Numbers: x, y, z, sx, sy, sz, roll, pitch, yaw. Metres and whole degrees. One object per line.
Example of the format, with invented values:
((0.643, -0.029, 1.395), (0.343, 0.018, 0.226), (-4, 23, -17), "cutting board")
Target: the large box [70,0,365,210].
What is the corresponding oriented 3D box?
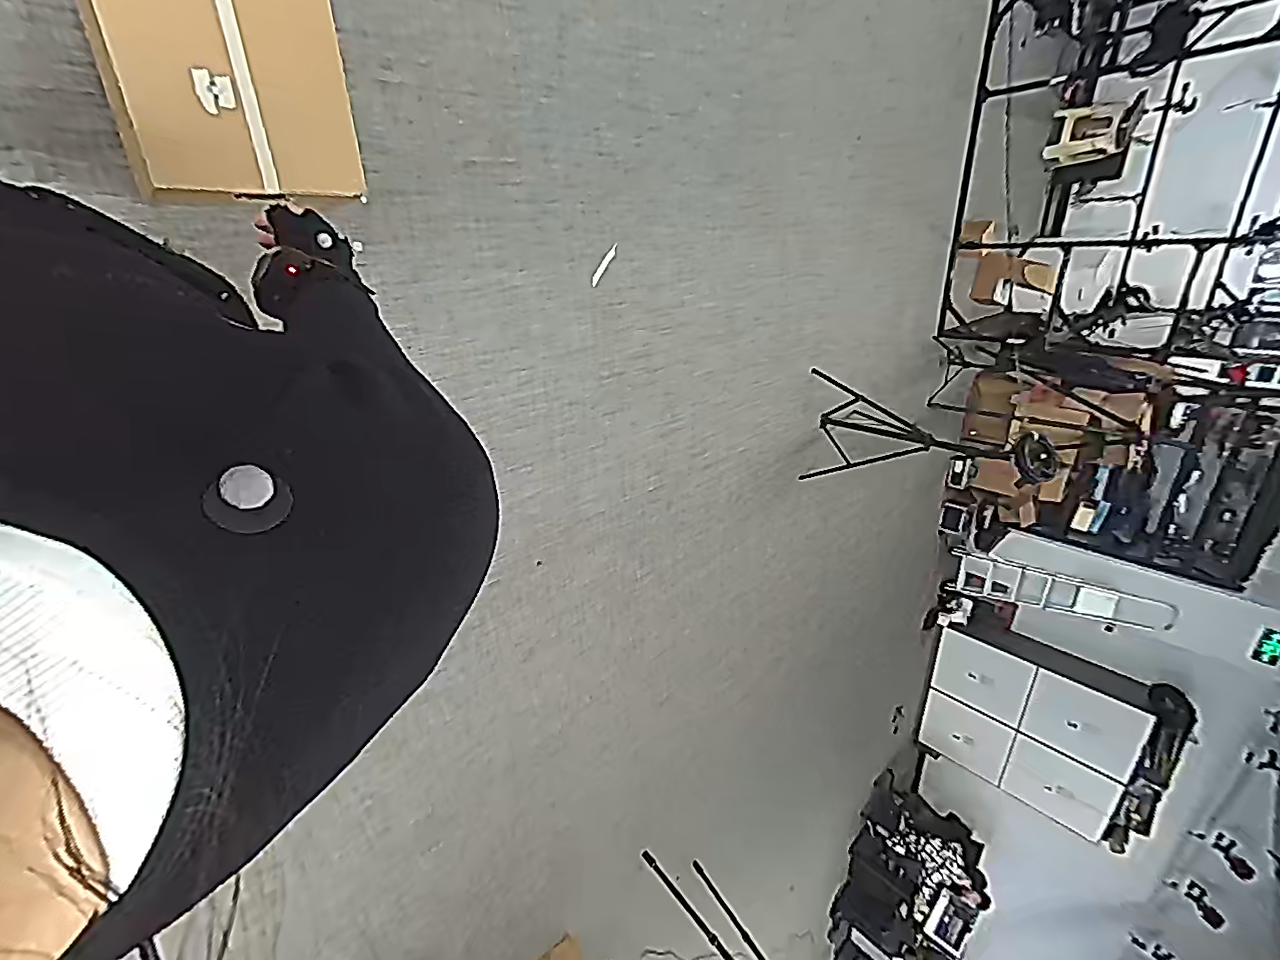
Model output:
((-0.735, -0.706, 0.942), (0.320, 0.320, 0.408), (-21, 120, -37), "large box")
